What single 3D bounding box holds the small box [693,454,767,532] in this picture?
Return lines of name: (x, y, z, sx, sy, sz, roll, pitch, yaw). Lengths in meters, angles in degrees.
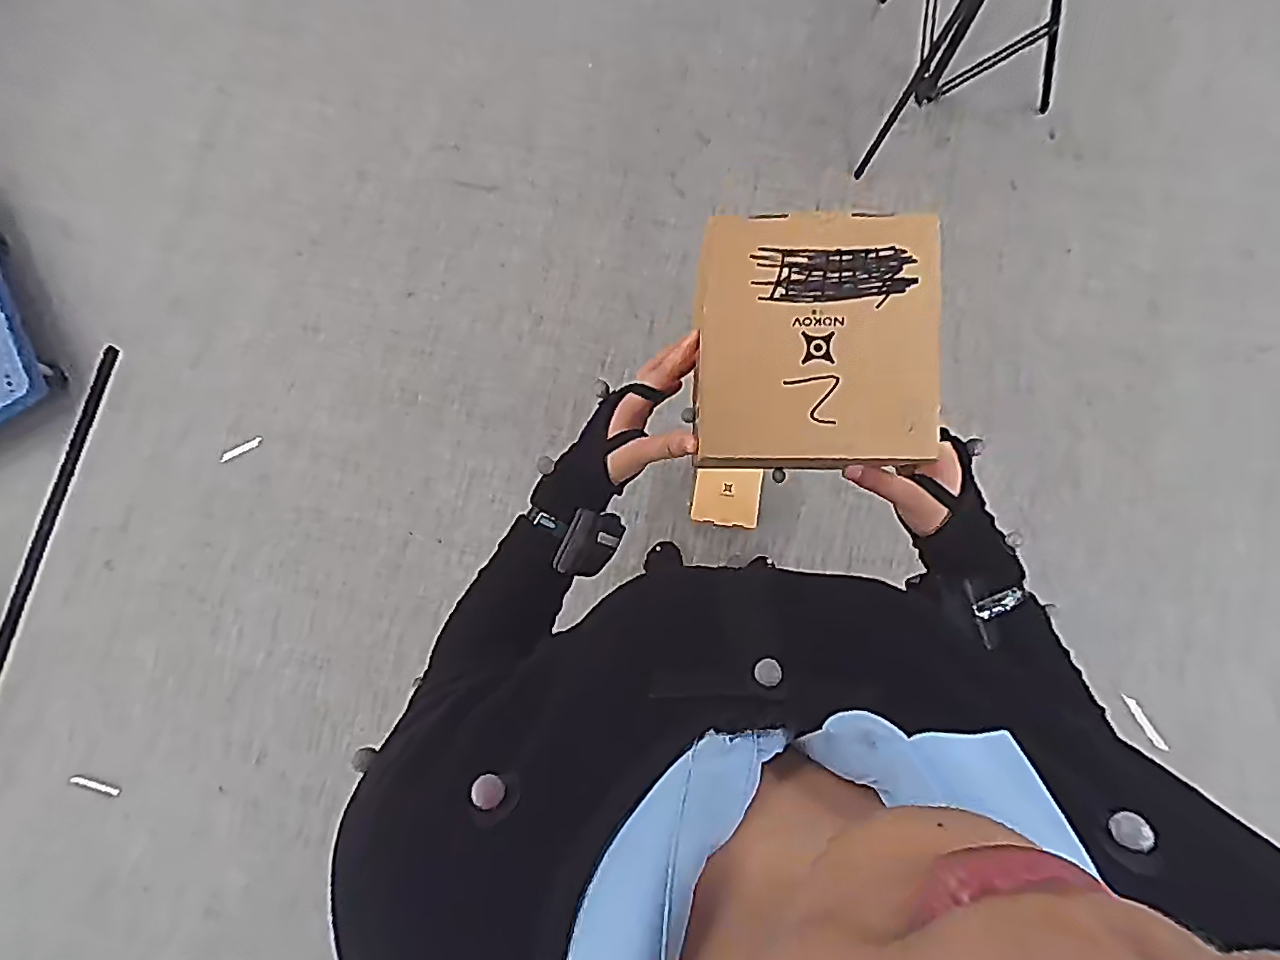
small box: (0.233, 0.039, 1.438, 0.168, 0.176, 0.179, 8, 83, 5)
